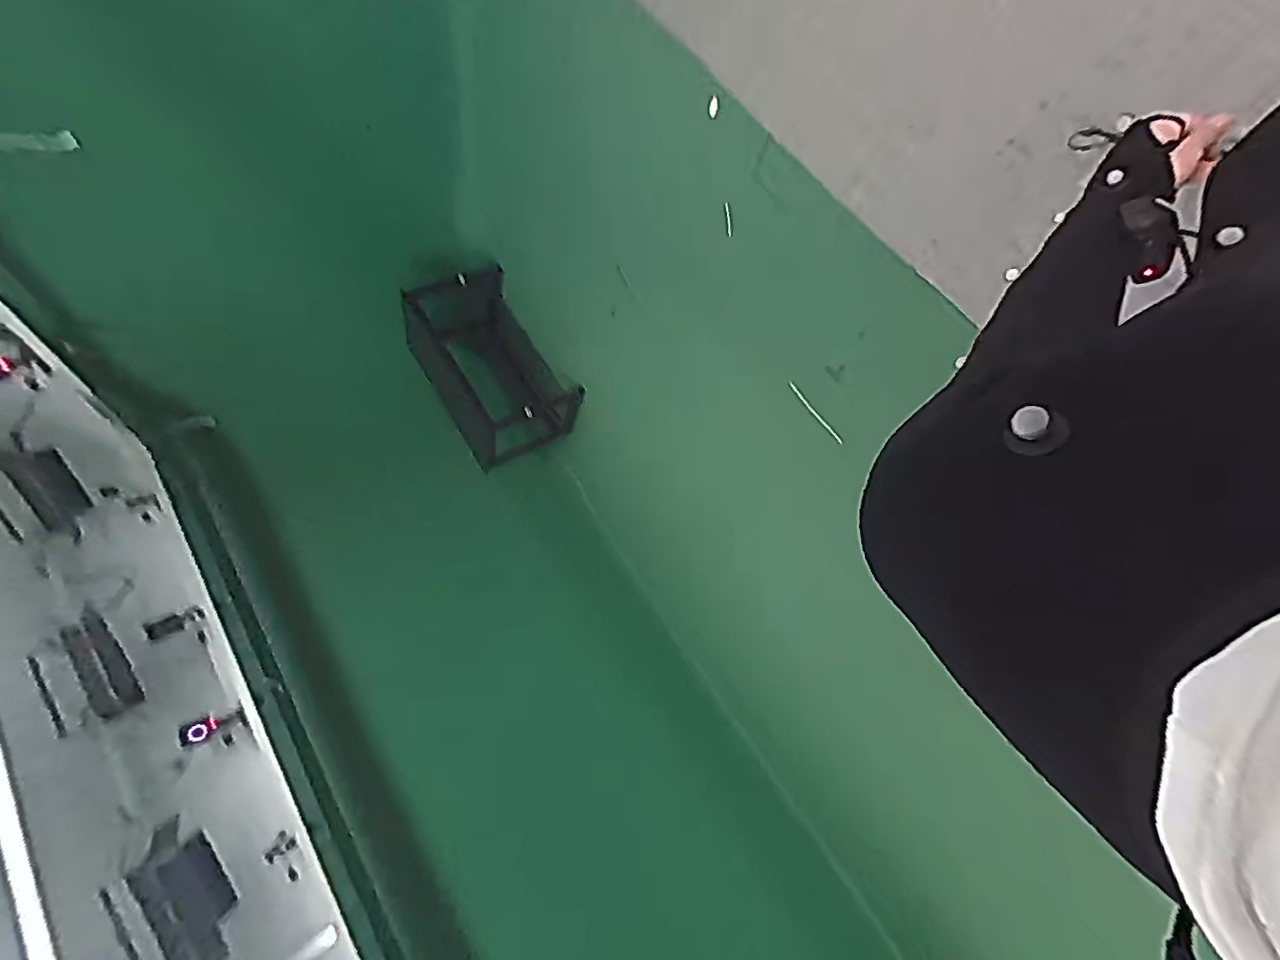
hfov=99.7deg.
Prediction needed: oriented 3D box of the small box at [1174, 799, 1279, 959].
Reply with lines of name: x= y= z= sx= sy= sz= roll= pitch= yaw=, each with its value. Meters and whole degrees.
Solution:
small box: x=0.928 y=0.587 z=0.756 sx=0.179 sy=0.176 sz=0.168 roll=53 pitch=150 yaw=14
